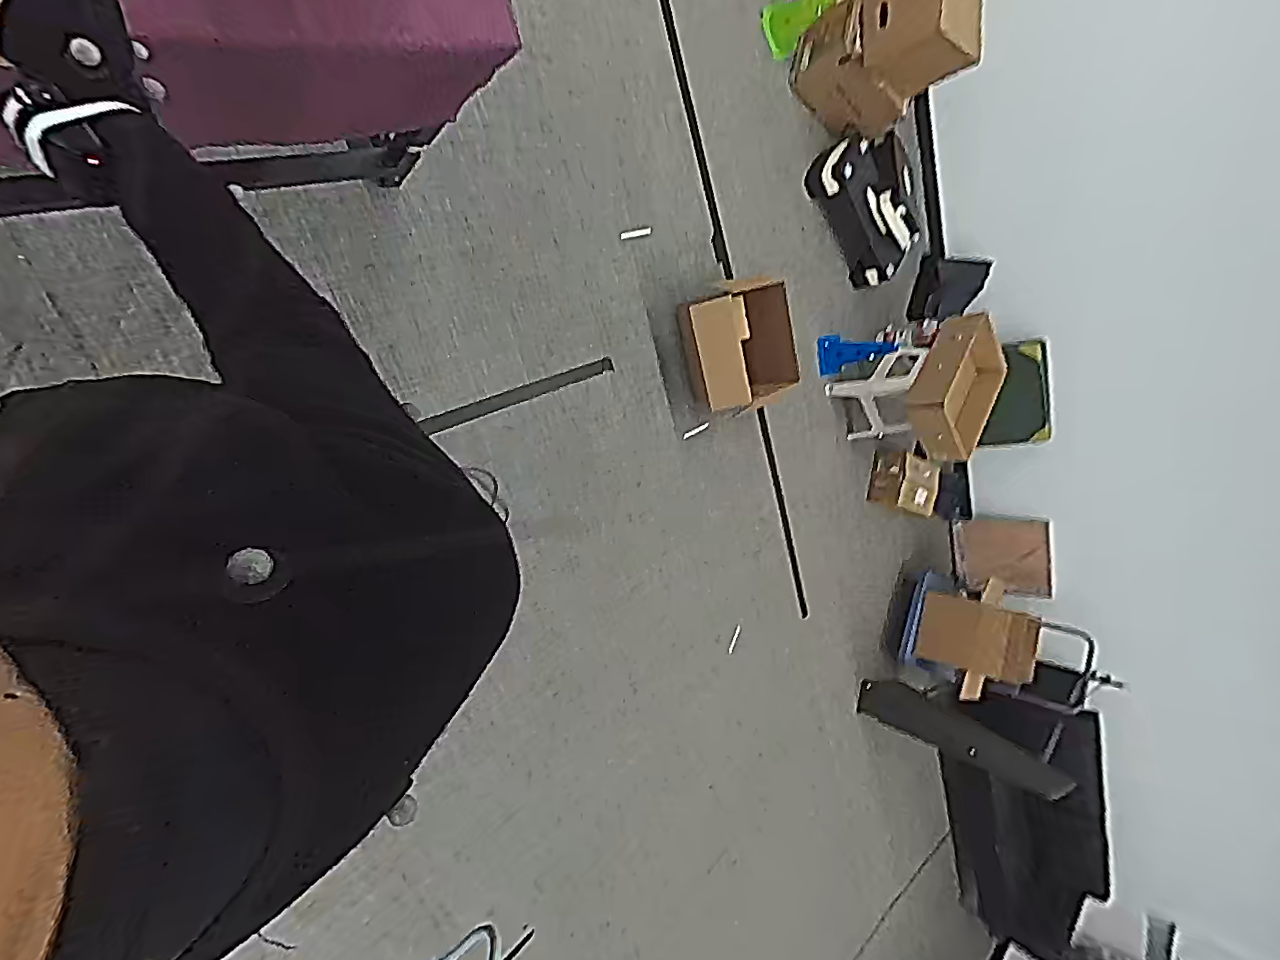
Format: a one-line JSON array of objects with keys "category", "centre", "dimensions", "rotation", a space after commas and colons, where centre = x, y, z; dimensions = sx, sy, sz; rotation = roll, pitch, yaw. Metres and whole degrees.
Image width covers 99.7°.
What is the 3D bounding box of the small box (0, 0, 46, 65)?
[{"category": "small box", "centre": [-0.575, -0.454, 0.394], "dimensions": [0.168, 0.176, 0.179], "rotation": [-19, 104, -46]}]
